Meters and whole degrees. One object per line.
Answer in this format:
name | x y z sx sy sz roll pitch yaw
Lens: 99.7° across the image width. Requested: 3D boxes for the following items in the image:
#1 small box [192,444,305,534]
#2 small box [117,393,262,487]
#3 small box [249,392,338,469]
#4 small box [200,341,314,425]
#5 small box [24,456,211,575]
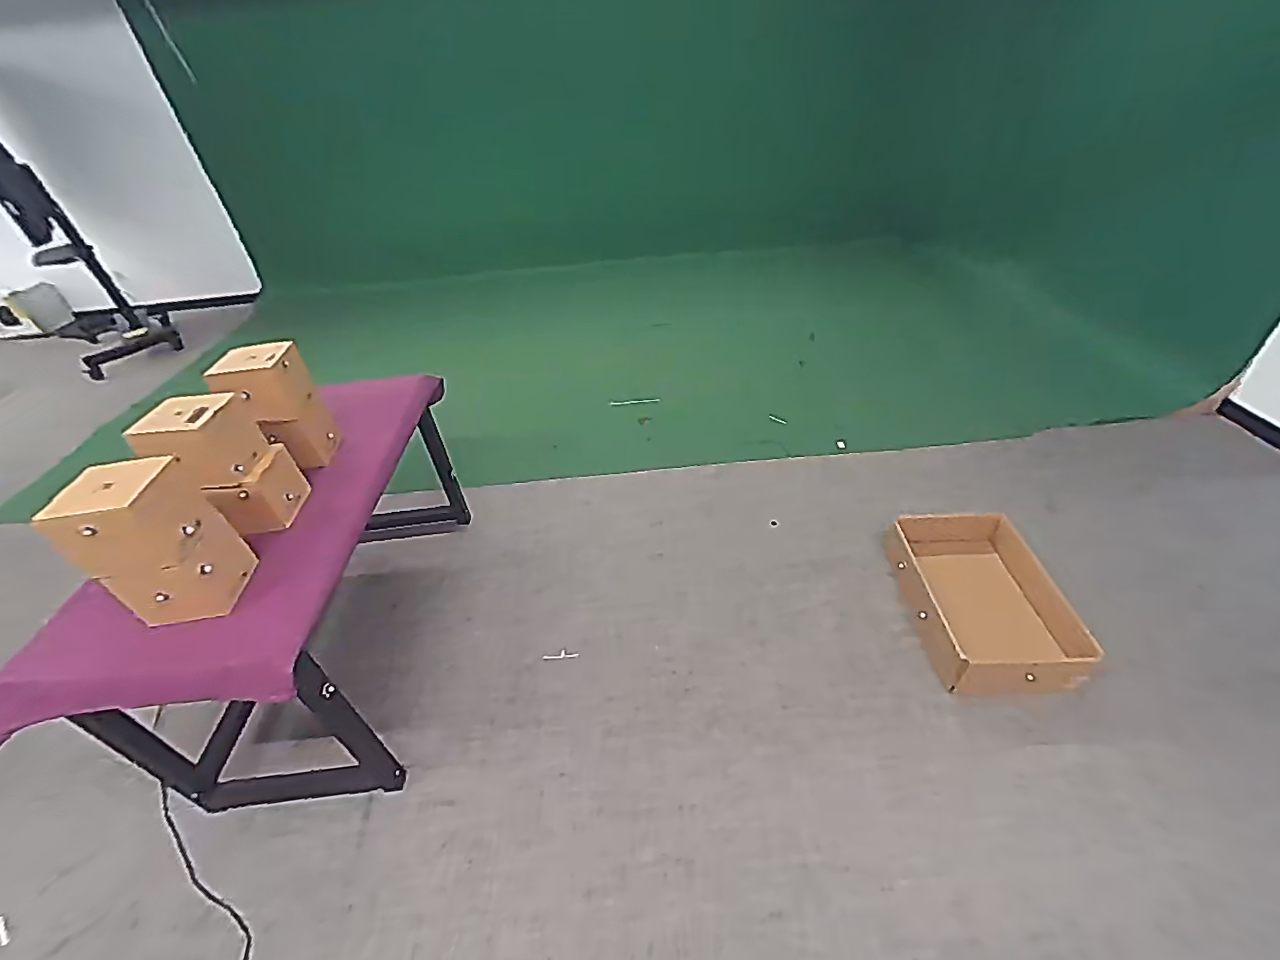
small box | -1.029 0.027 1.417 0.179 0.176 0.168 -6 39 -2
small box | -1.072 -0.093 1.308 0.179 0.176 0.168 -4 39 2
small box | -1.049 -0.141 1.621 0.179 0.176 0.168 -8 40 -3
small box | -1.063 -0.268 1.519 0.179 0.176 0.168 -9 40 -3
small box | -1.037 0.075 1.095 0.179 0.176 0.168 -8 39 -2
